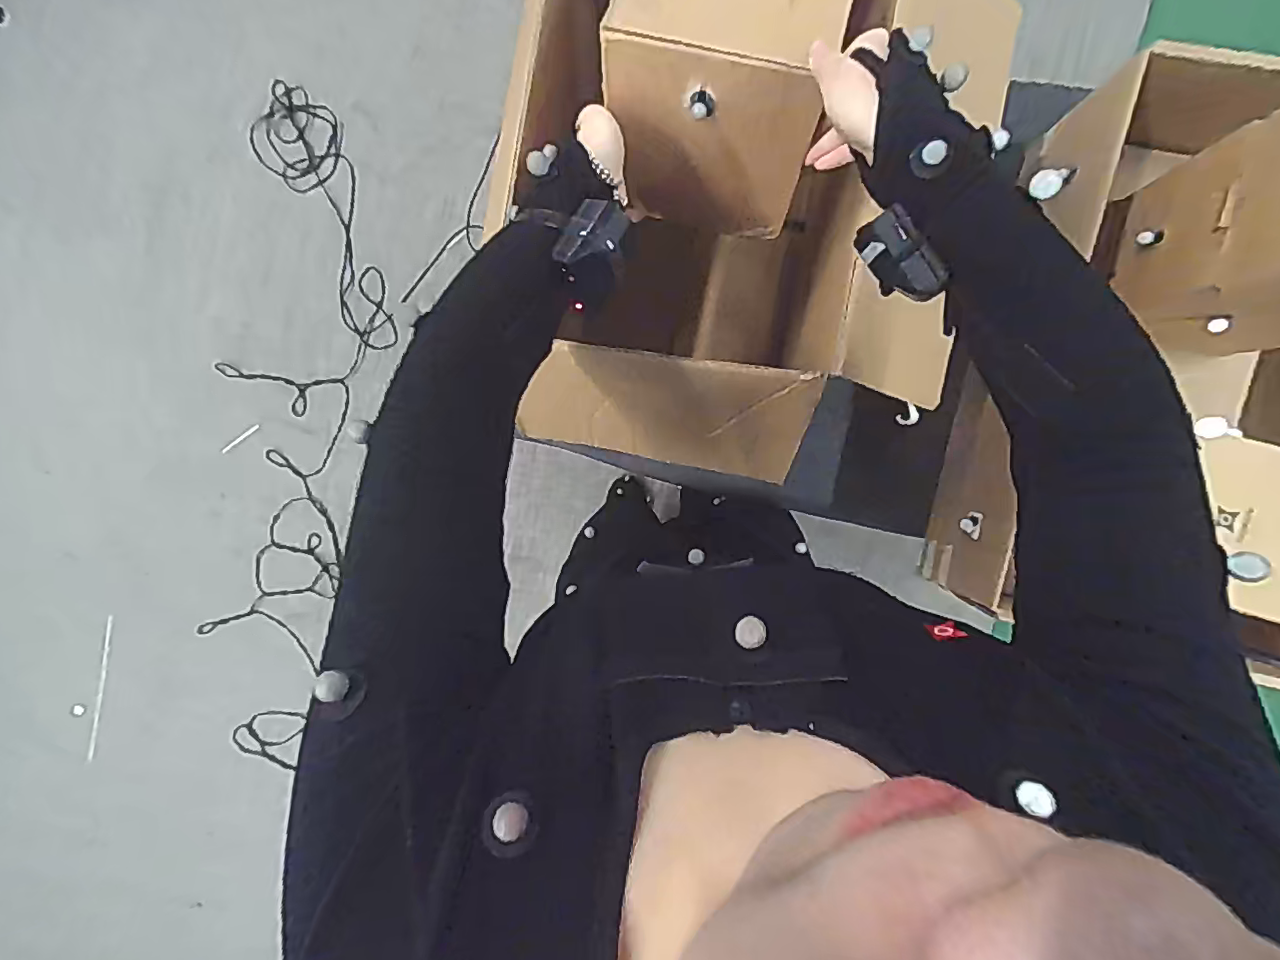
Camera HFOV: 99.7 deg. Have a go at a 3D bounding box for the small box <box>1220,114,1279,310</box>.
[{"bbox_3d":[0.644,-0.241,0.436,0.168,0.176,0.179,13,94,4],"label":"small box"}]
